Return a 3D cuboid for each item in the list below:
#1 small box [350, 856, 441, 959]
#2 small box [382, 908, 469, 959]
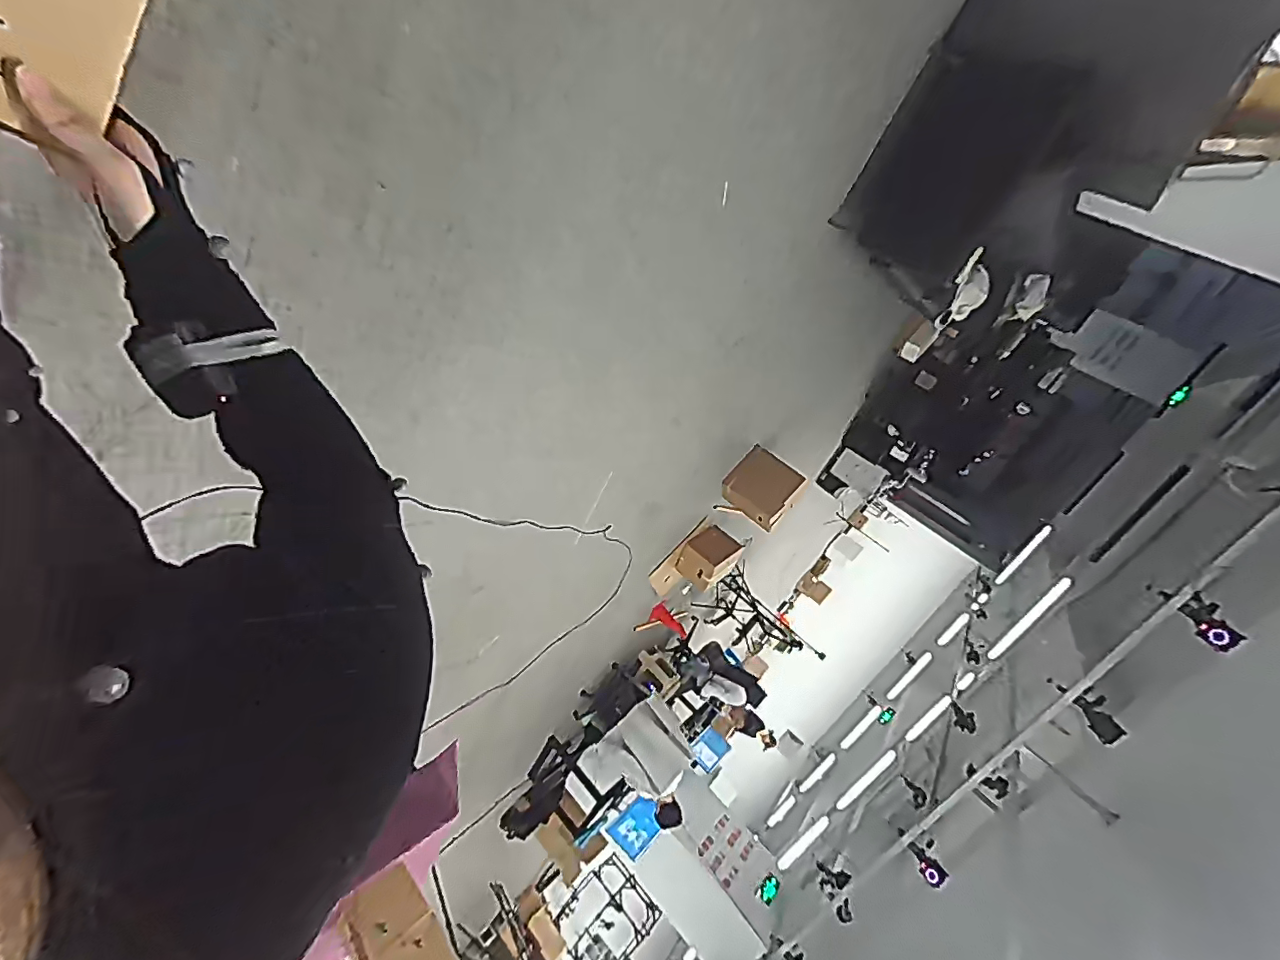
[{"bbox_3d":[-0.738,1.293,1.622,0.179,0.176,0.168,-9,134,-54],"label":"small box"},{"bbox_3d":[-0.629,1.396,1.558,0.168,0.176,0.179,-8,132,-54],"label":"small box"}]
